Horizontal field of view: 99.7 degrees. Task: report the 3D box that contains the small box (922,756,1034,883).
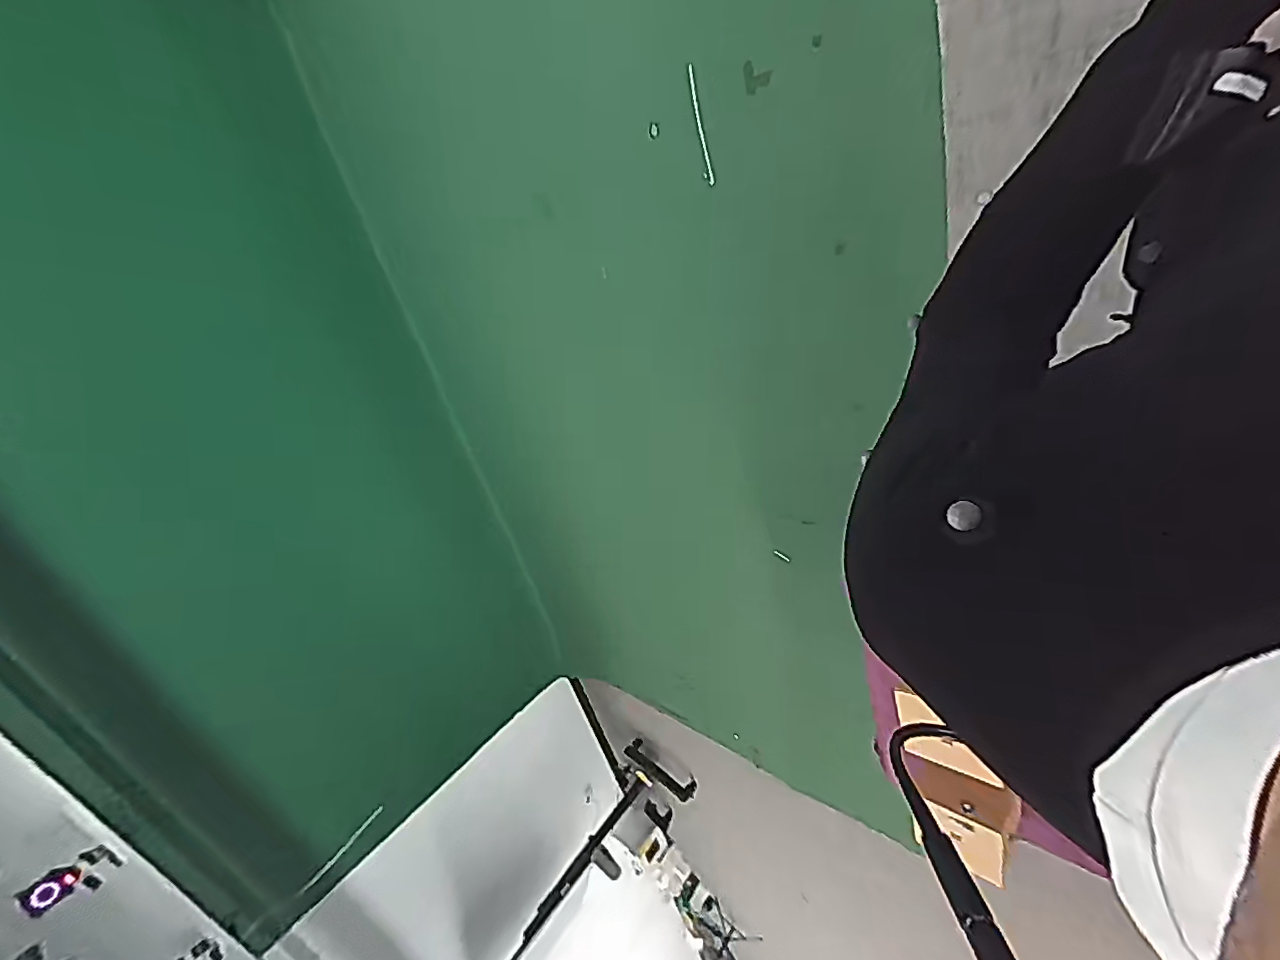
[{"bbox_3d":[0.720,0.687,1.148,0.168,0.176,0.179,7,125,44],"label":"small box"}]
